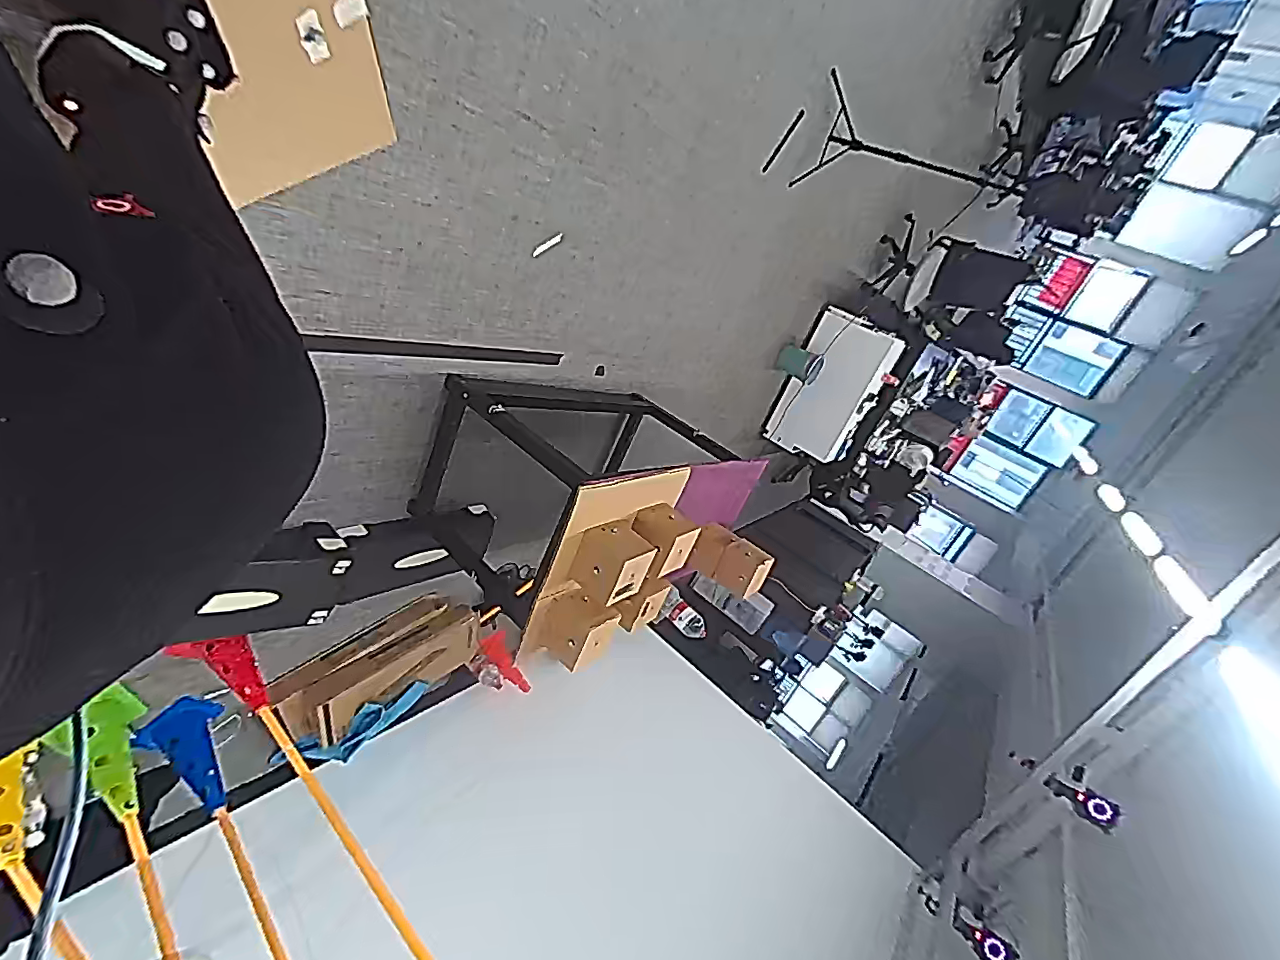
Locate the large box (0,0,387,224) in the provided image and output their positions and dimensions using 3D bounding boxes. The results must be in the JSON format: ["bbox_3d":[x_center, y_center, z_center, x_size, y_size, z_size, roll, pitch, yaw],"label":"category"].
[{"bbox_3d":[-0.591,-0.555,0.629,0.320,0.408,0.320,-54,162,-39],"label":"large box"}]
